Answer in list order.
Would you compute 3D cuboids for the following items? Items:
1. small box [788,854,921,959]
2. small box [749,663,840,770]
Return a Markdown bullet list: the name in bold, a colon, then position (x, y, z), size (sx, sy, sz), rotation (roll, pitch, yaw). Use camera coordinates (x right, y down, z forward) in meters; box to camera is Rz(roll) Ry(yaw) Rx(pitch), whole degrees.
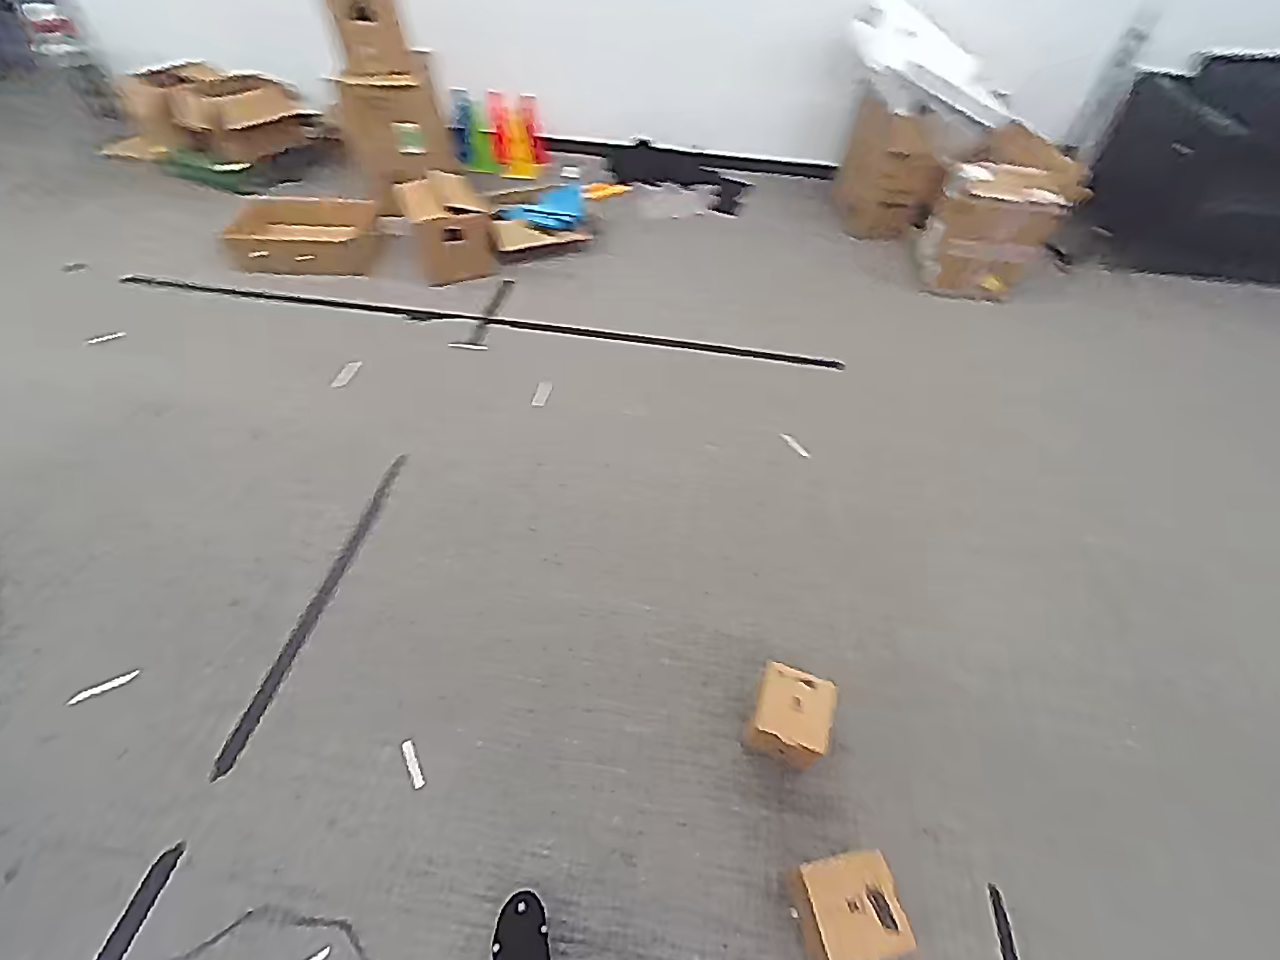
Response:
- **small box**: position (0.428, 0.888, 1.112), size (0.179, 0.176, 0.168), rotation (-7, 51, -7)
- **small box**: position (0.380, 0.596, 1.352), size (0.168, 0.176, 0.179), rotation (18, 52, 12)
